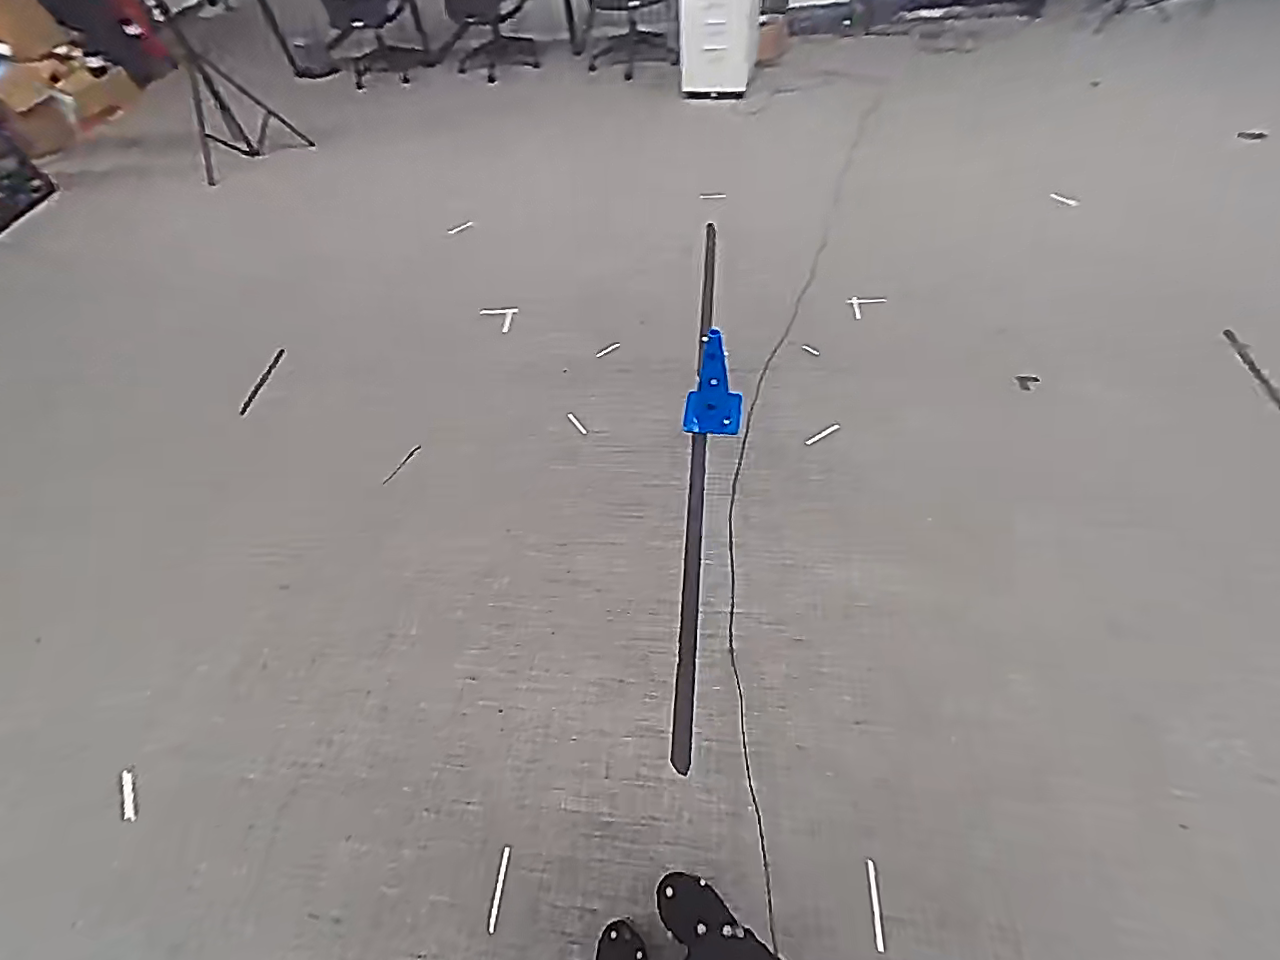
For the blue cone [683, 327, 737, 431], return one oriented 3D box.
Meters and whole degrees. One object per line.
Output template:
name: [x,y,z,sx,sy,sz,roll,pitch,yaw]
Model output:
blue cone: [0.237,-0.348,1.786,0.193,0.380,0.192,4,54,8]
